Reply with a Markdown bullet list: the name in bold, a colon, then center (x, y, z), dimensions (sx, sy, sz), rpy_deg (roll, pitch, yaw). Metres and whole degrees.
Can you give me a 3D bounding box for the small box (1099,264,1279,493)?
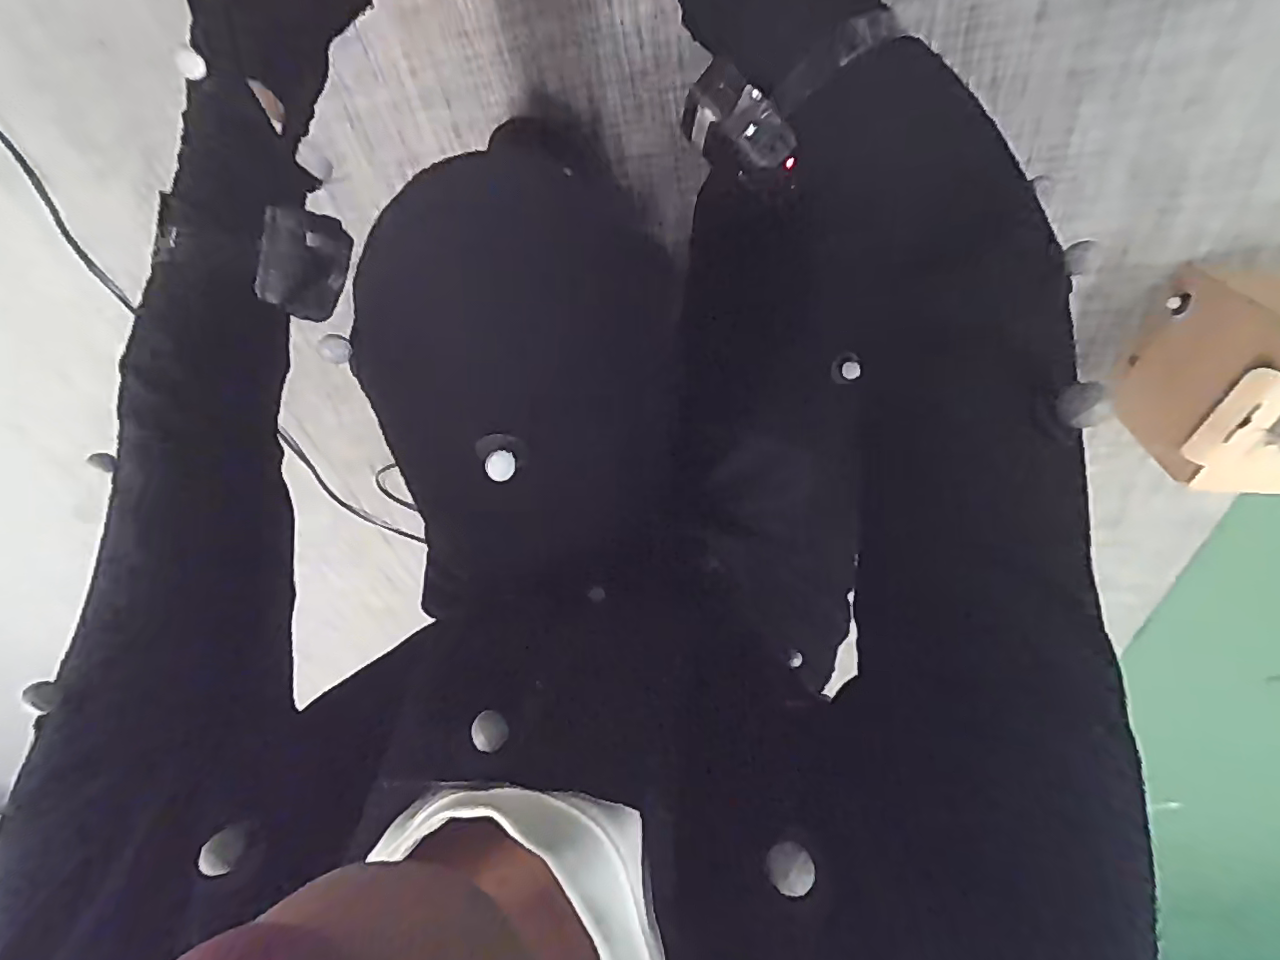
- **small box**: center (0.629, -0.104, 0.545), dimensions (0.179, 0.176, 0.168), rpy_deg (4, 133, 4)
